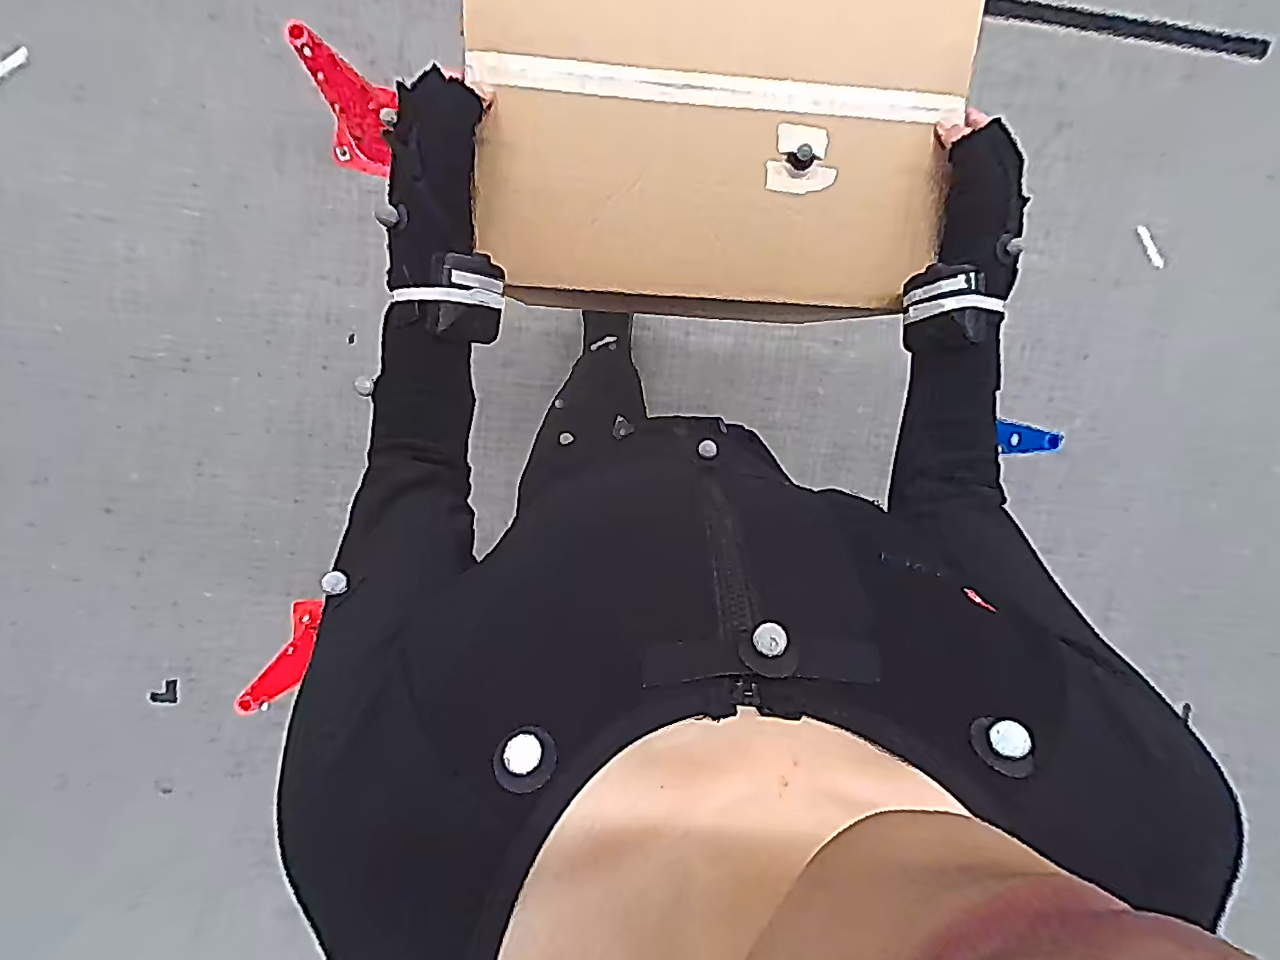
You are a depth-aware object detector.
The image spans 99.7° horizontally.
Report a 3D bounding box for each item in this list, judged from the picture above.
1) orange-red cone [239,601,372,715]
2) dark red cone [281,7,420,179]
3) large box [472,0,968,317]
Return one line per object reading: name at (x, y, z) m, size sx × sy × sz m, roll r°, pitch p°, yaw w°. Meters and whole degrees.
orange-red cone at (-0.824, 0.453, 1.300) m, size 0.198 × 0.360 × 0.199 m, roll 3°, pitch 98°, yaw -2°
dark red cone at (-0.622, -0.821, 1.129) m, size 0.201 × 0.394 × 0.202 m, roll 11°, pitch 97°, yaw -5°
large box at (0.052, -0.352, 0.586) m, size 0.408 × 0.320 × 0.320 m, roll 2°, pitch 104°, yaw -5°
